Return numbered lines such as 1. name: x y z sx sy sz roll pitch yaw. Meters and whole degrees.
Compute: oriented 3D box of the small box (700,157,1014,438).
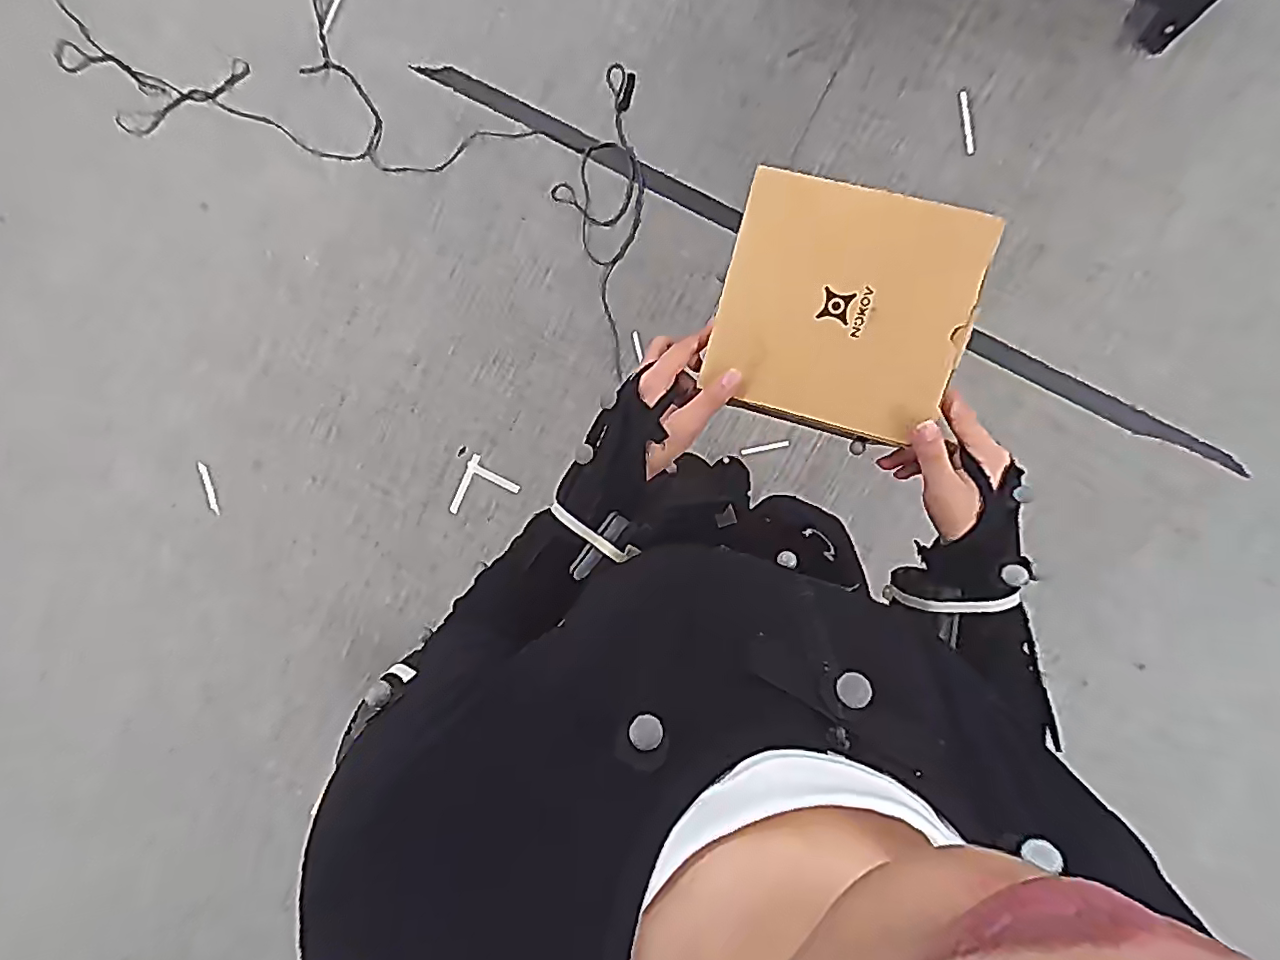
1. small box: 0.160 -0.137 0.462 0.179 0.176 0.168 16 99 6
